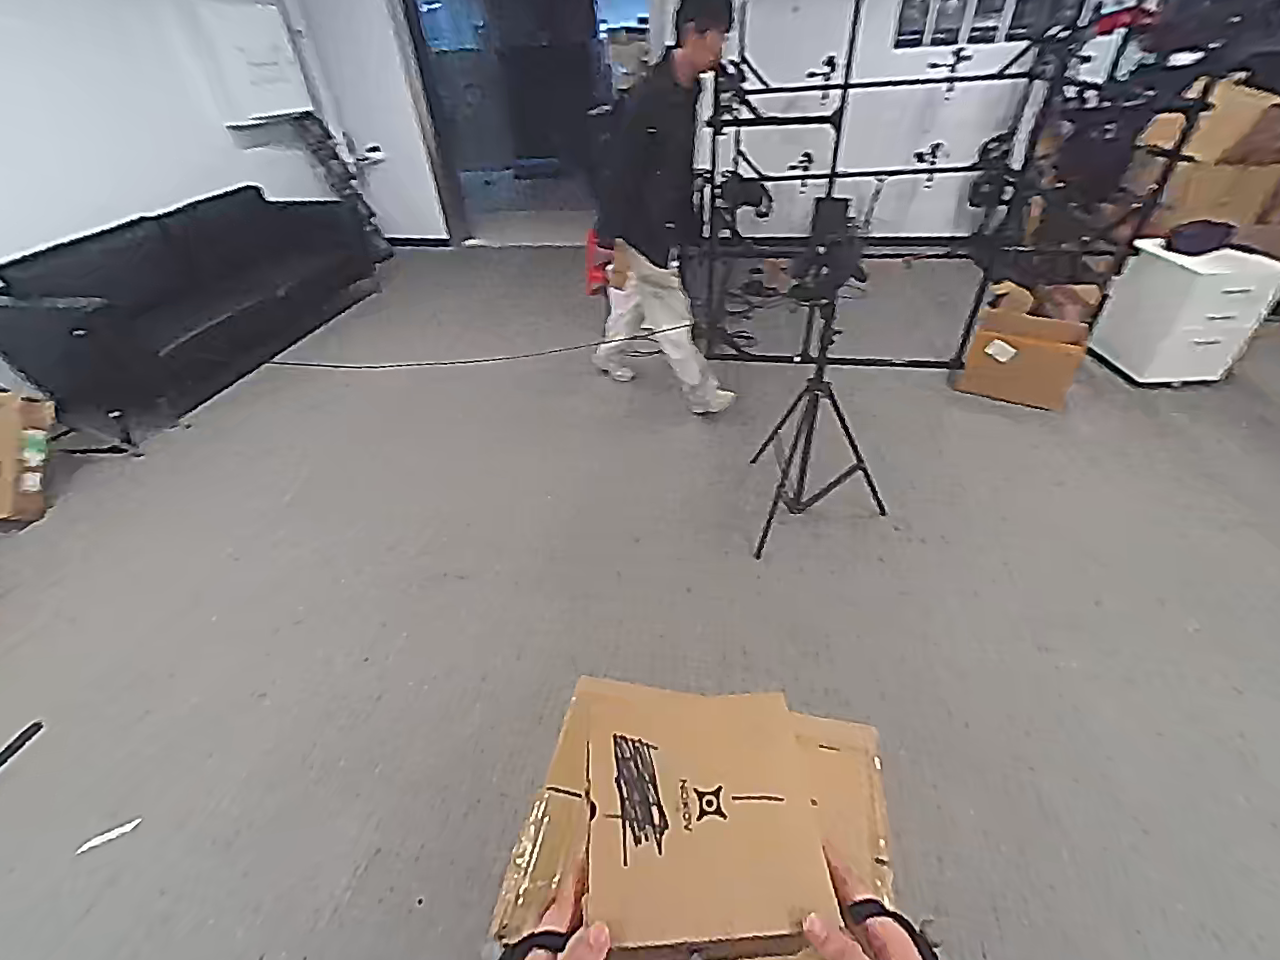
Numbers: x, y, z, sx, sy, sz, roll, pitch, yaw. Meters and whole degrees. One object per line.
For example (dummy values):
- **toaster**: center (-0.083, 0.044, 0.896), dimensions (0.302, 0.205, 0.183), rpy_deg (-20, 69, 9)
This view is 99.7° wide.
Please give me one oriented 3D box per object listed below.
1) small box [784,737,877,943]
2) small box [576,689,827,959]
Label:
- **small box**: center (0.204, 0.466, 0.714), dimensions (0.168, 0.176, 0.179), rpy_deg (4, 41, 14)
- **small box**: center (0.040, 0.306, 0.479), dimensions (0.179, 0.176, 0.168), rpy_deg (-3, 45, -3)
